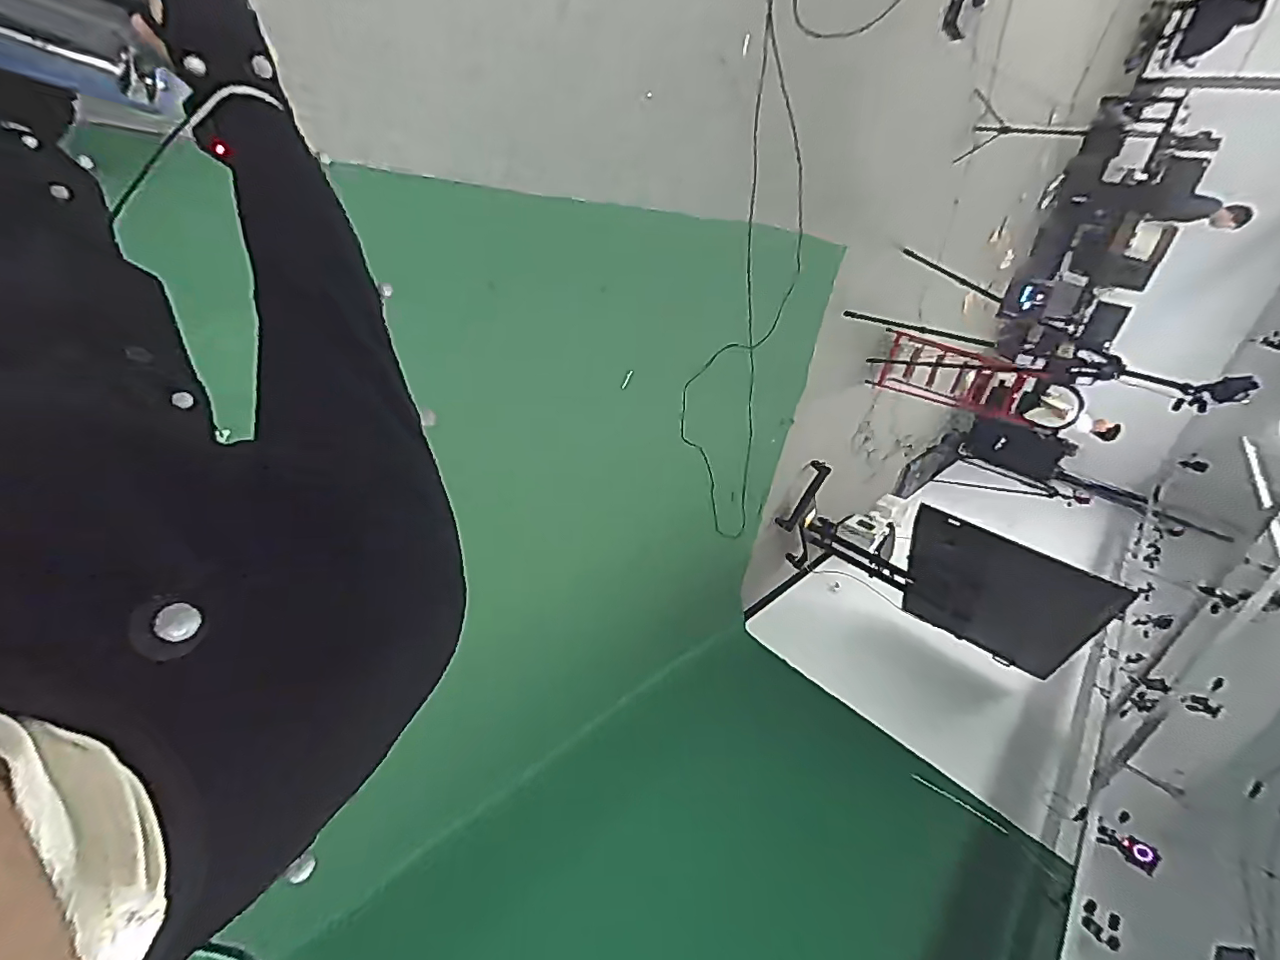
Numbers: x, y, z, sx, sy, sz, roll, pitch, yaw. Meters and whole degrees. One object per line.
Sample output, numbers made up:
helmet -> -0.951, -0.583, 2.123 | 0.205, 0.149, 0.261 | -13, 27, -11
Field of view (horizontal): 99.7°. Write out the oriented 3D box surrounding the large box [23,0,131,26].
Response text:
large box -> -0.812, -0.822, 0.595 | 0.320, 0.320, 0.408 | -10, 121, -49
